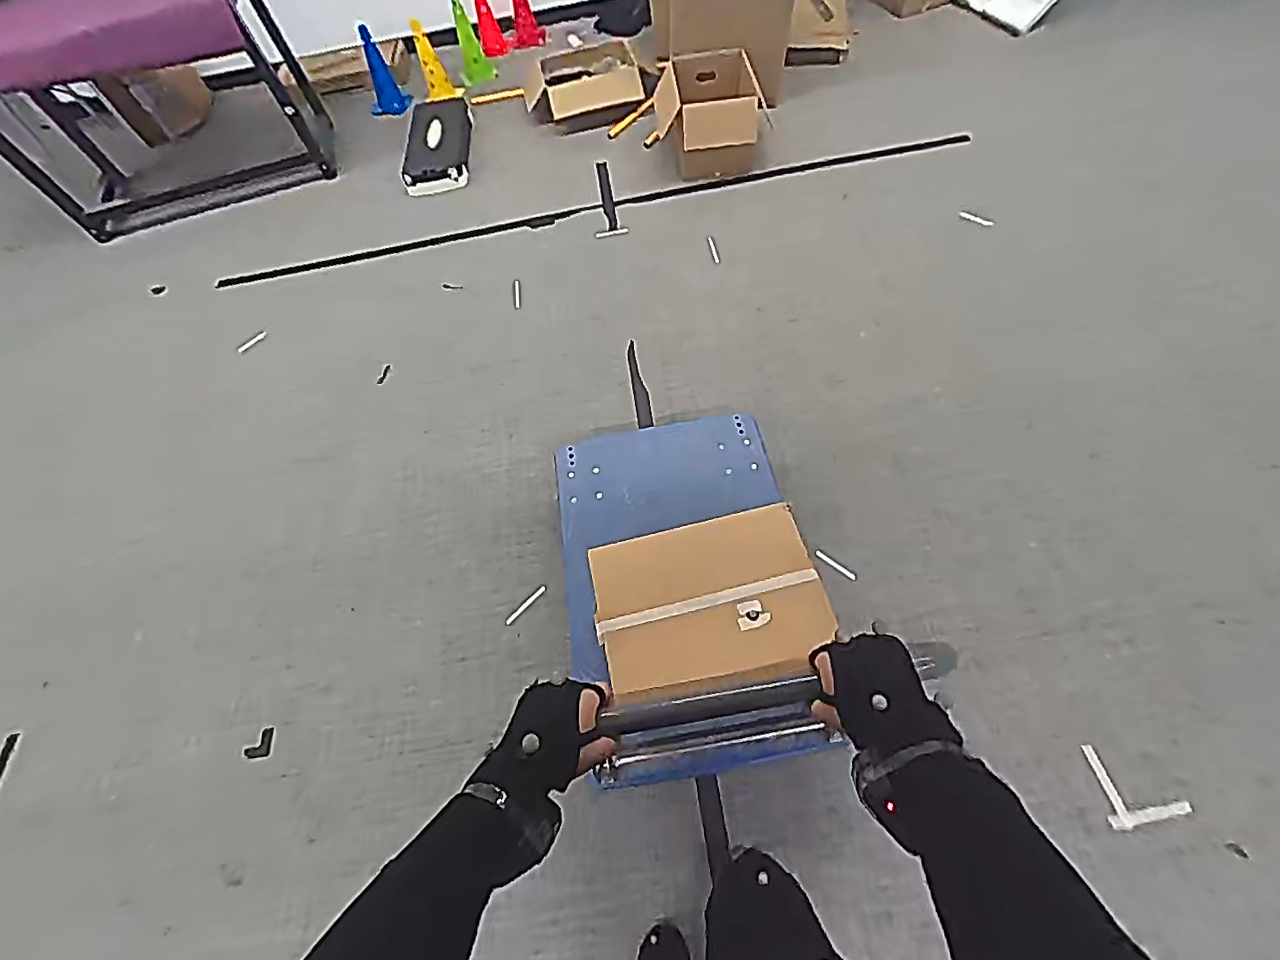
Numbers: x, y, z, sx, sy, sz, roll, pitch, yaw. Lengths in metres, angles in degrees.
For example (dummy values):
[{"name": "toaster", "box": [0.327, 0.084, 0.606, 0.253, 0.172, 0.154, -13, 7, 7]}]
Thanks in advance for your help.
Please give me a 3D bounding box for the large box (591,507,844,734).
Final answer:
[{"name": "large box", "box": [0.141, 0.303, 1.124, 0.408, 0.320, 0.320, -14, 60, -2]}]
